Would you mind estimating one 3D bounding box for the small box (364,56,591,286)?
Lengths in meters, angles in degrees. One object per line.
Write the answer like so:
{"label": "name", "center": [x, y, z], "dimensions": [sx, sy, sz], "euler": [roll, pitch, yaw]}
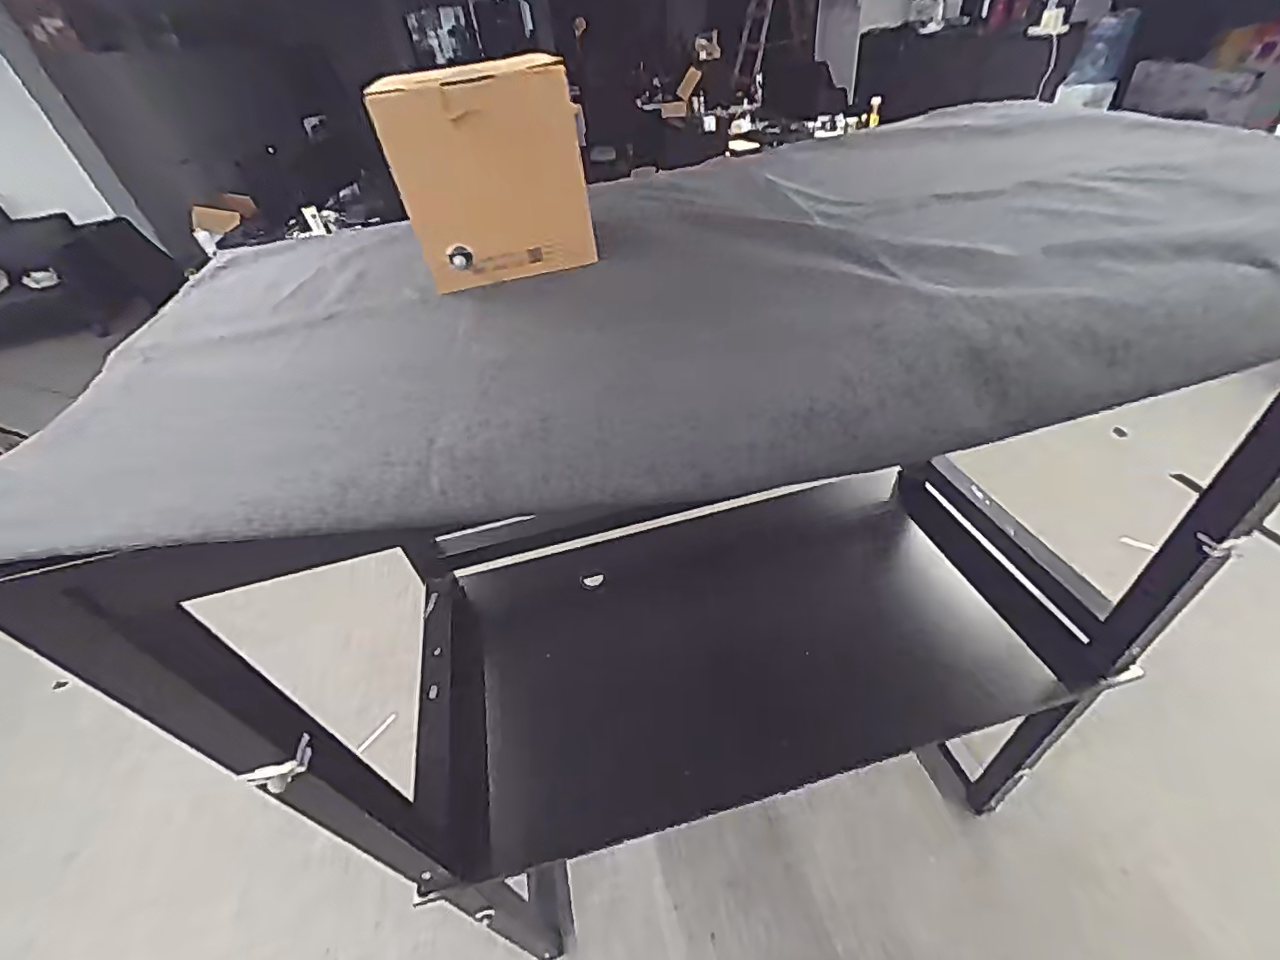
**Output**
{"label": "small box", "center": [-0.154, -0.314, 0.557], "dimensions": [0.168, 0.176, 0.179], "euler": [-14, 41, -6]}
